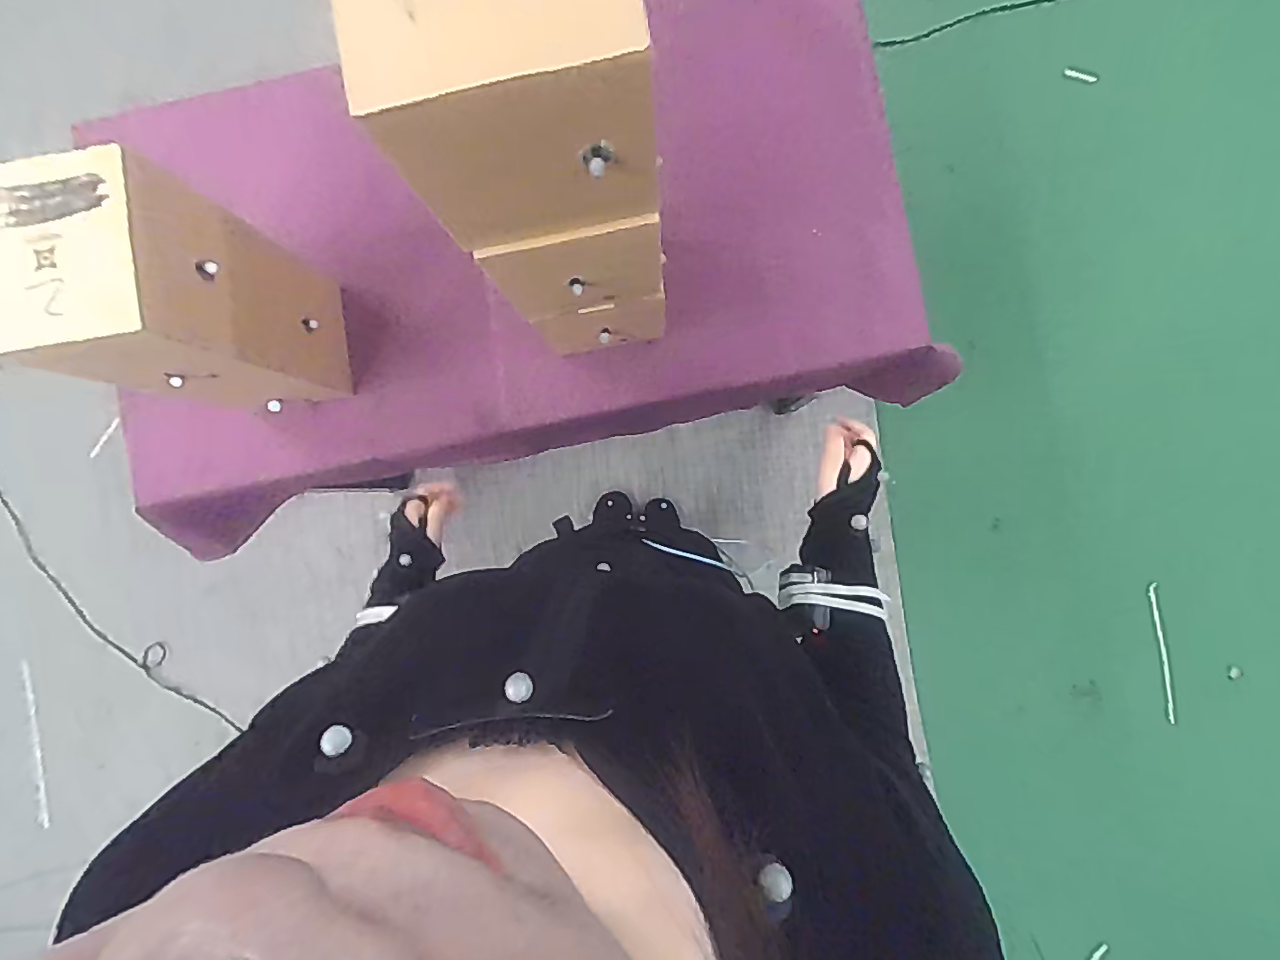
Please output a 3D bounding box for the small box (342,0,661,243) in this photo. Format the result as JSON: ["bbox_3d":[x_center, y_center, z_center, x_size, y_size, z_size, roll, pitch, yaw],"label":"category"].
[{"bbox_3d":[-0.083,-0.296,0.385,0.179,0.176,0.168,-10,88,3],"label":"small box"}]

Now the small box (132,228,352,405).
[{"bbox_3d":[-0.520,-0.208,0.730,0.168,0.176,0.179,-8,90,2],"label":"small box"}]

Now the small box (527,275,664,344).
[{"bbox_3d":[-0.061,-0.288,0.713,0.168,0.176,0.179,-10,90,2],"label":"small box"}]

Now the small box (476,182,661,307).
[{"bbox_3d":[-0.071,-0.290,0.548,0.168,0.176,0.179,-10,89,2],"label":"small box"}]
